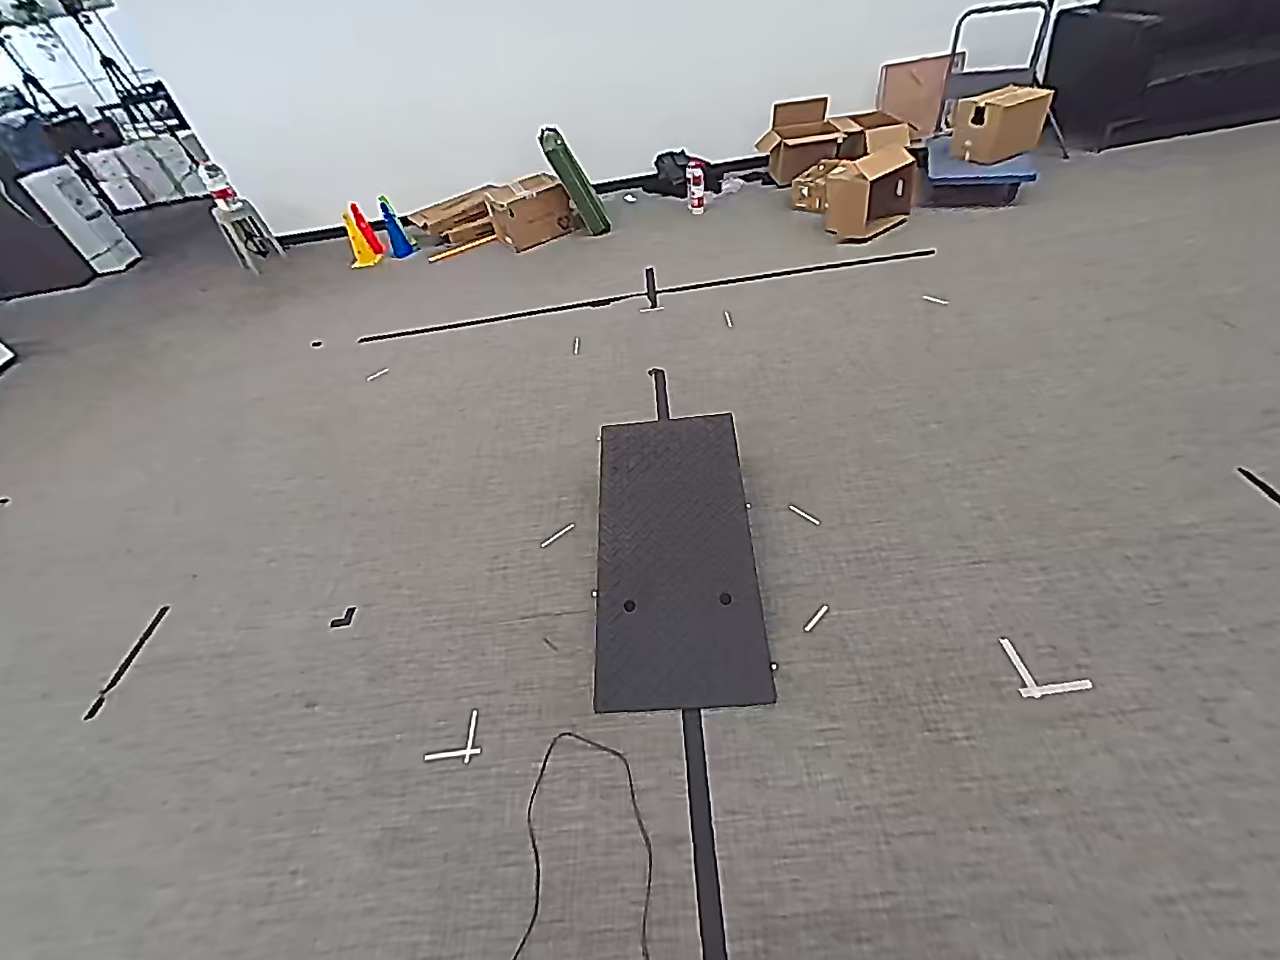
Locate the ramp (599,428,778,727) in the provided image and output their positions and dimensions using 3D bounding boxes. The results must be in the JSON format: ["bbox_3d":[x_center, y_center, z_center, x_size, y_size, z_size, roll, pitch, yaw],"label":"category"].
[{"bbox_3d":[0.110,0.241,1.739,0.509,0.206,0.991,-7,44,3],"label":"ramp"}]
